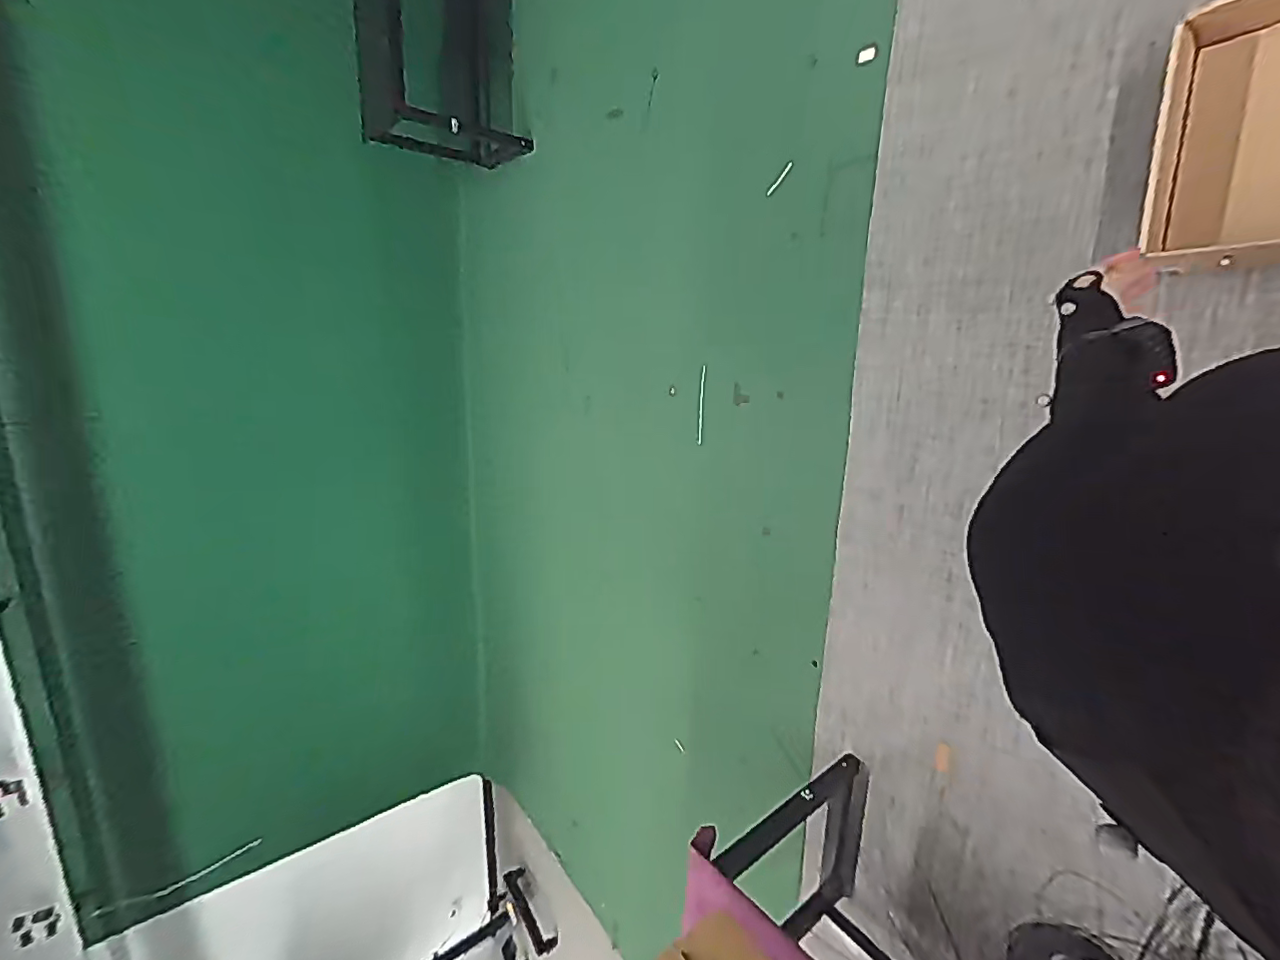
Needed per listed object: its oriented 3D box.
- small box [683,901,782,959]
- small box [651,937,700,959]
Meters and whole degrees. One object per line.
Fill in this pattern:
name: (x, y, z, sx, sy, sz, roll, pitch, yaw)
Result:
small box: (0.200, 1.113, 1.217, 0.179, 0.176, 0.168, 16, 109, 50)
small box: (0.072, 1.117, 1.112, 0.168, 0.176, 0.179, 19, 112, 49)
